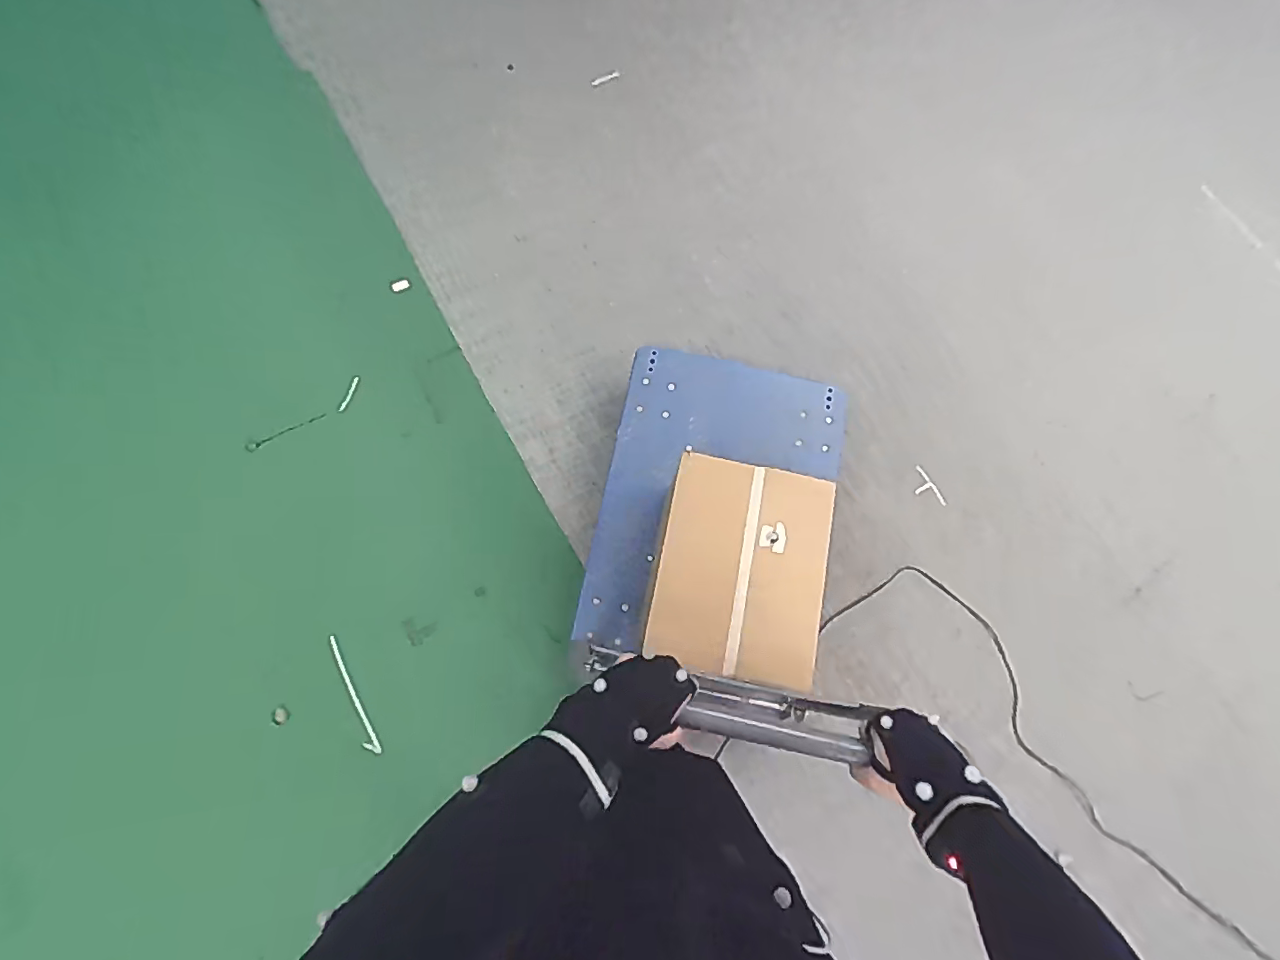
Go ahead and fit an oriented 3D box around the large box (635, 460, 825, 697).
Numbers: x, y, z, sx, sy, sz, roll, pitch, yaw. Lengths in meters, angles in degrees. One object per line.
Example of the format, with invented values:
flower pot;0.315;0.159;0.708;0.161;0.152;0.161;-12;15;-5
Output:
large box;0.176;0.215;1.165;0.320;0.320;0.408;12;75;0
